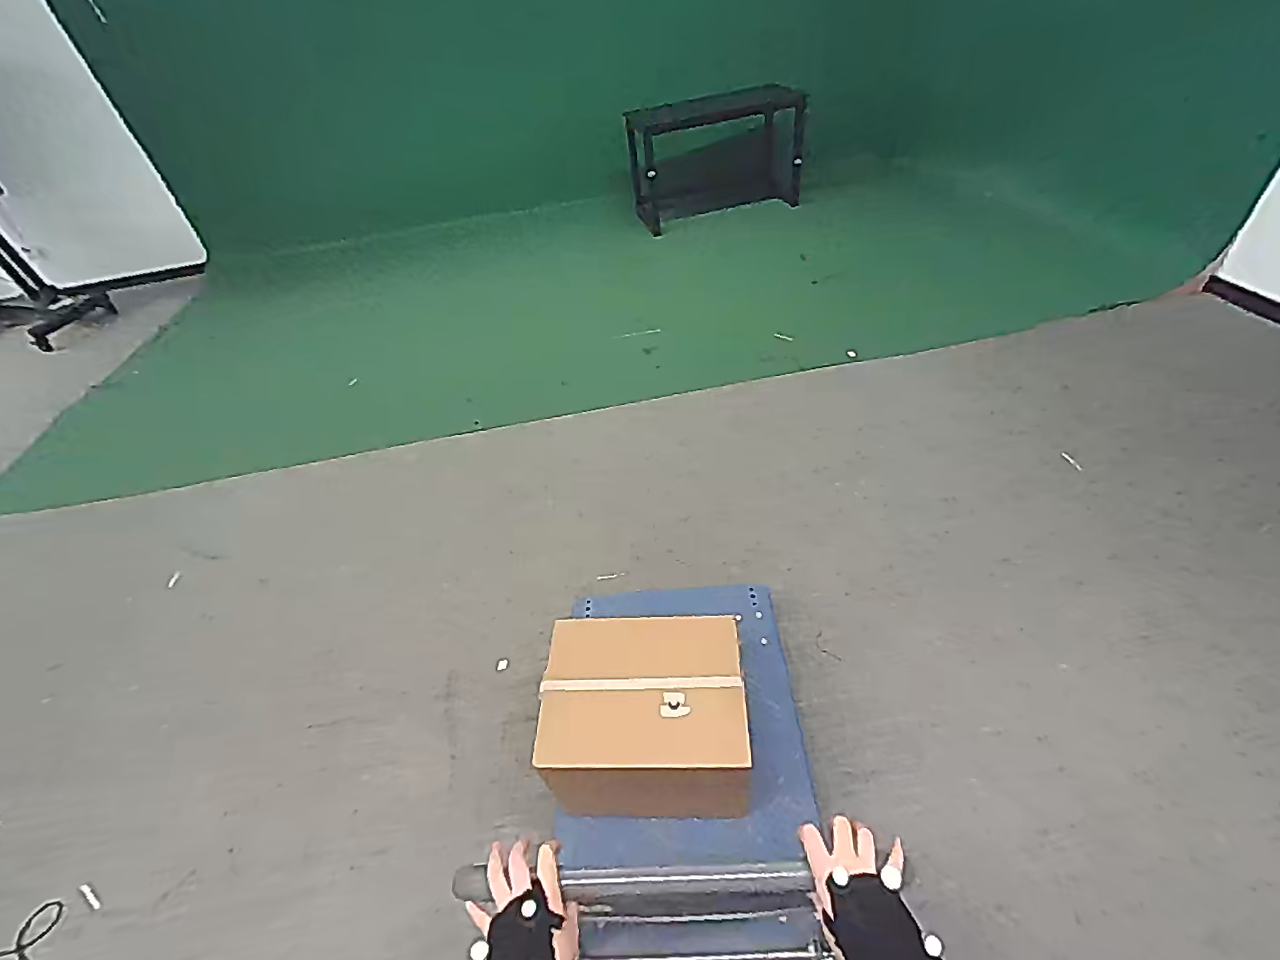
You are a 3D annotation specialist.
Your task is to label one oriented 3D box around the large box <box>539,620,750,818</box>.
[{"bbox_3d":[0.018,0.535,1.209,0.408,0.320,0.320,-2,43,4],"label":"large box"}]
